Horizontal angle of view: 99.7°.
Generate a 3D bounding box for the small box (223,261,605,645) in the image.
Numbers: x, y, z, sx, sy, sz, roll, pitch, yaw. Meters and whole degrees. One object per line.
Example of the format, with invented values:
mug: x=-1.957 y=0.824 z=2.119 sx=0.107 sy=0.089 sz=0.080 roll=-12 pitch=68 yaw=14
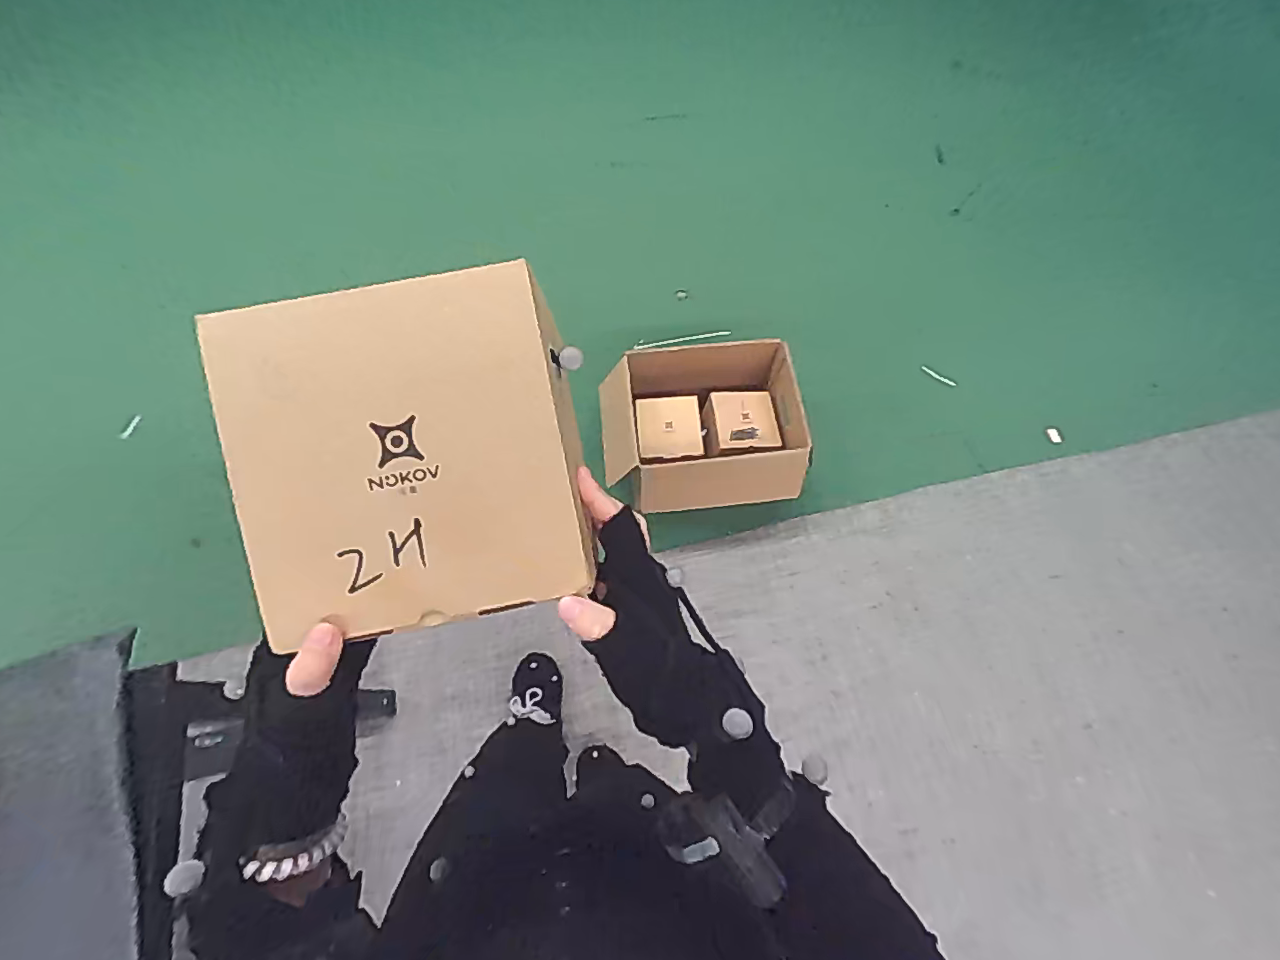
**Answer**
small box: x=-0.118 y=-0.016 z=0.354 sx=0.168 sy=0.176 sz=0.179 roll=-10 pitch=92 yaw=-2
